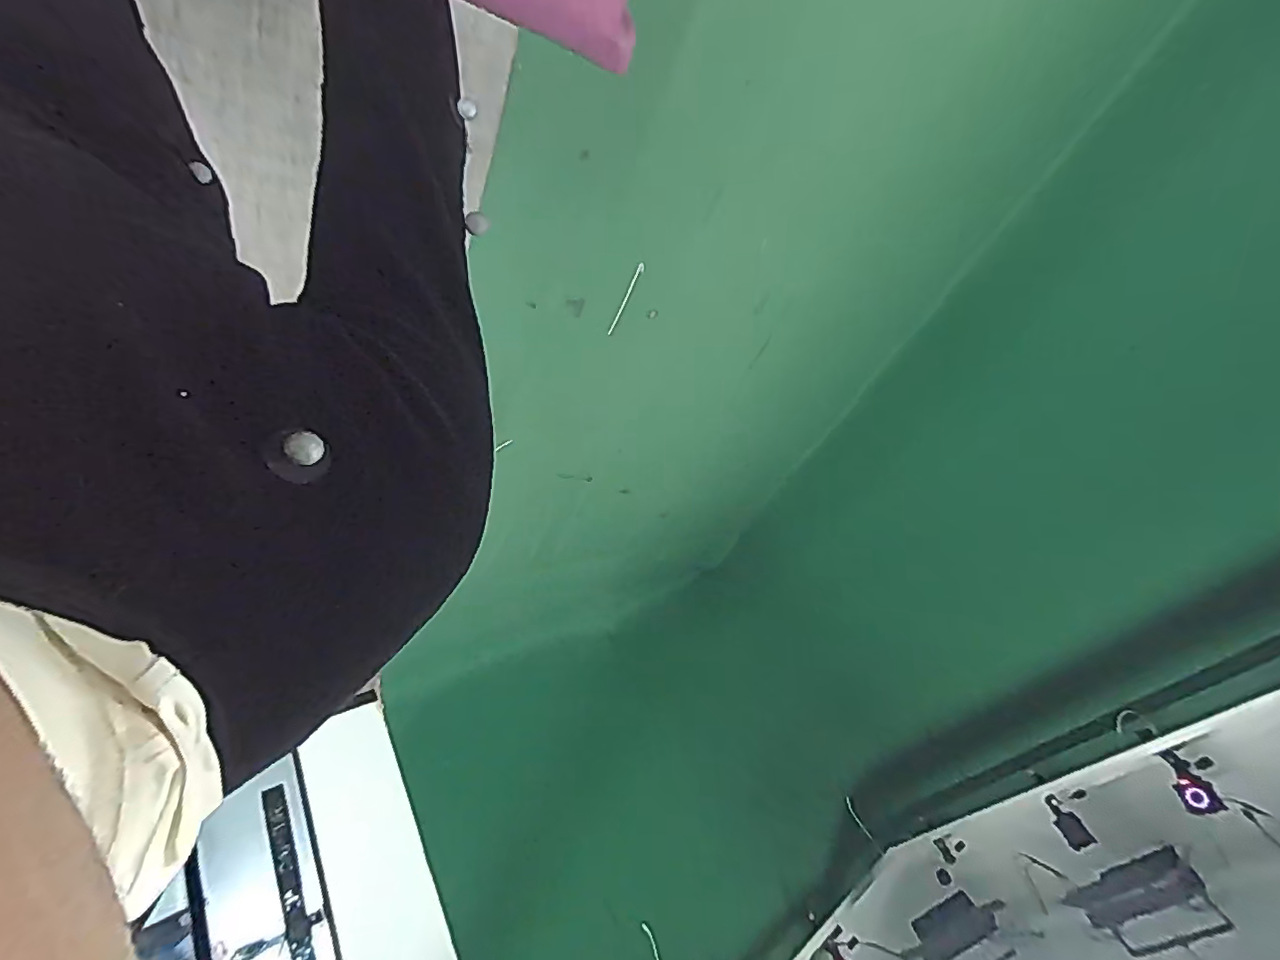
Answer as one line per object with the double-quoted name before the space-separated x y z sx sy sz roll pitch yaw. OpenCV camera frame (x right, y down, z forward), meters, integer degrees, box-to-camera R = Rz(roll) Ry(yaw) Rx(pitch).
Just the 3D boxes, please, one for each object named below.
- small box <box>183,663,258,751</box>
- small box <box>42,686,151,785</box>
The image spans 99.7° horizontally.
"small box" -1.299 0.696 1.673 0.168 0.176 0.179 -5 140 -42
"small box" -1.475 0.686 1.471 0.168 0.176 0.179 -15 146 -31
